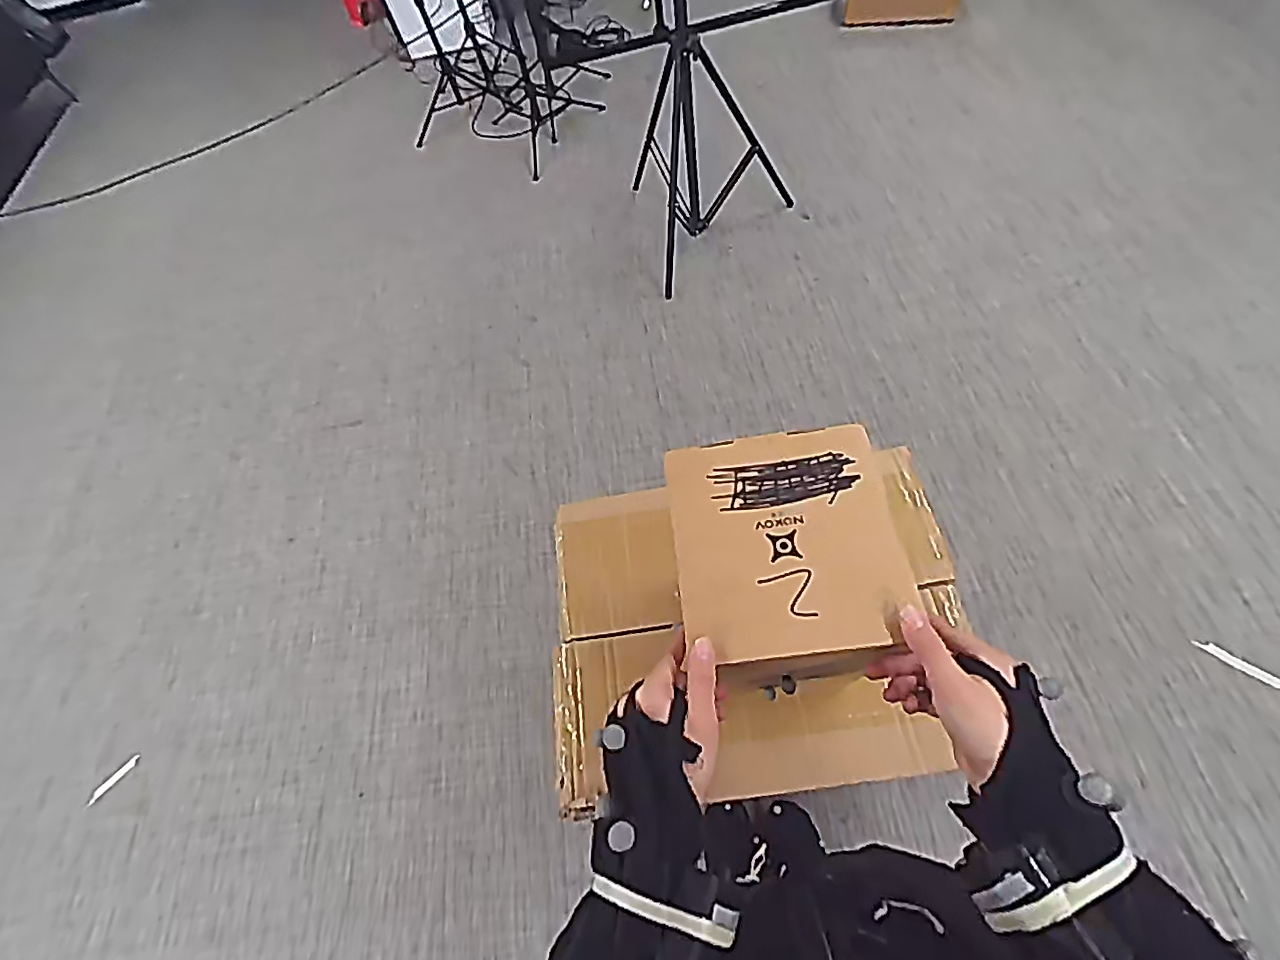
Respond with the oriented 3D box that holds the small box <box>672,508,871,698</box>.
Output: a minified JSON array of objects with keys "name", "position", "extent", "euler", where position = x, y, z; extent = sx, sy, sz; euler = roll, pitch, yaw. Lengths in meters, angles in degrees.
[{"name":"small box","position":[0.140,0.150,0.623],"extent":[0.179,0.176,0.168],"euler":[-9,62,5]}]
